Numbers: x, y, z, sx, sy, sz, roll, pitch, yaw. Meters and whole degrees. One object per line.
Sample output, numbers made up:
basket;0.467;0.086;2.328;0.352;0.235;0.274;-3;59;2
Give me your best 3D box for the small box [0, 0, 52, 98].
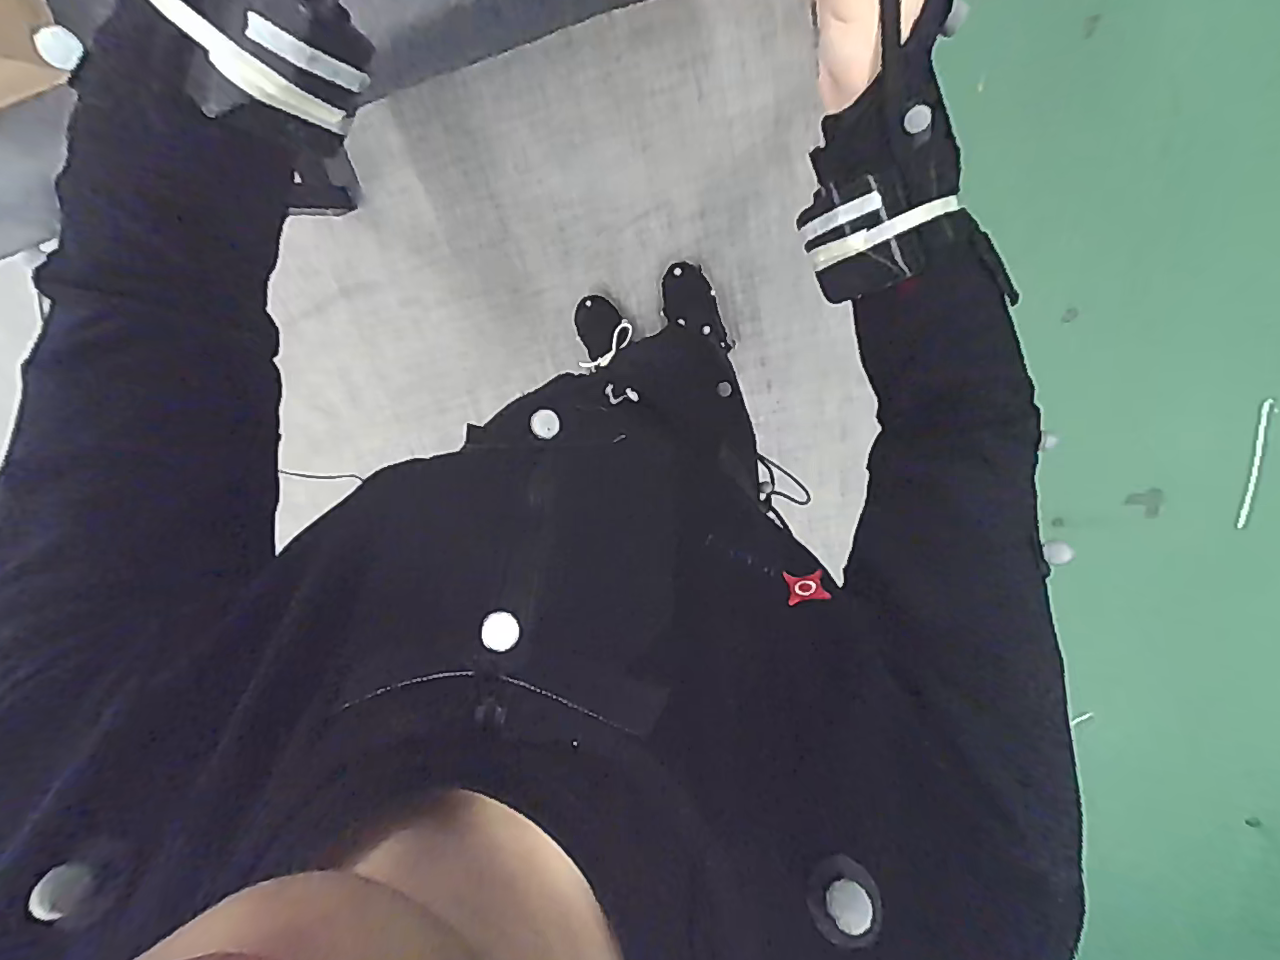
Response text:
small box;-0.653;-0.424;0.435;0.179;0.176;0.168;-8;112;12
